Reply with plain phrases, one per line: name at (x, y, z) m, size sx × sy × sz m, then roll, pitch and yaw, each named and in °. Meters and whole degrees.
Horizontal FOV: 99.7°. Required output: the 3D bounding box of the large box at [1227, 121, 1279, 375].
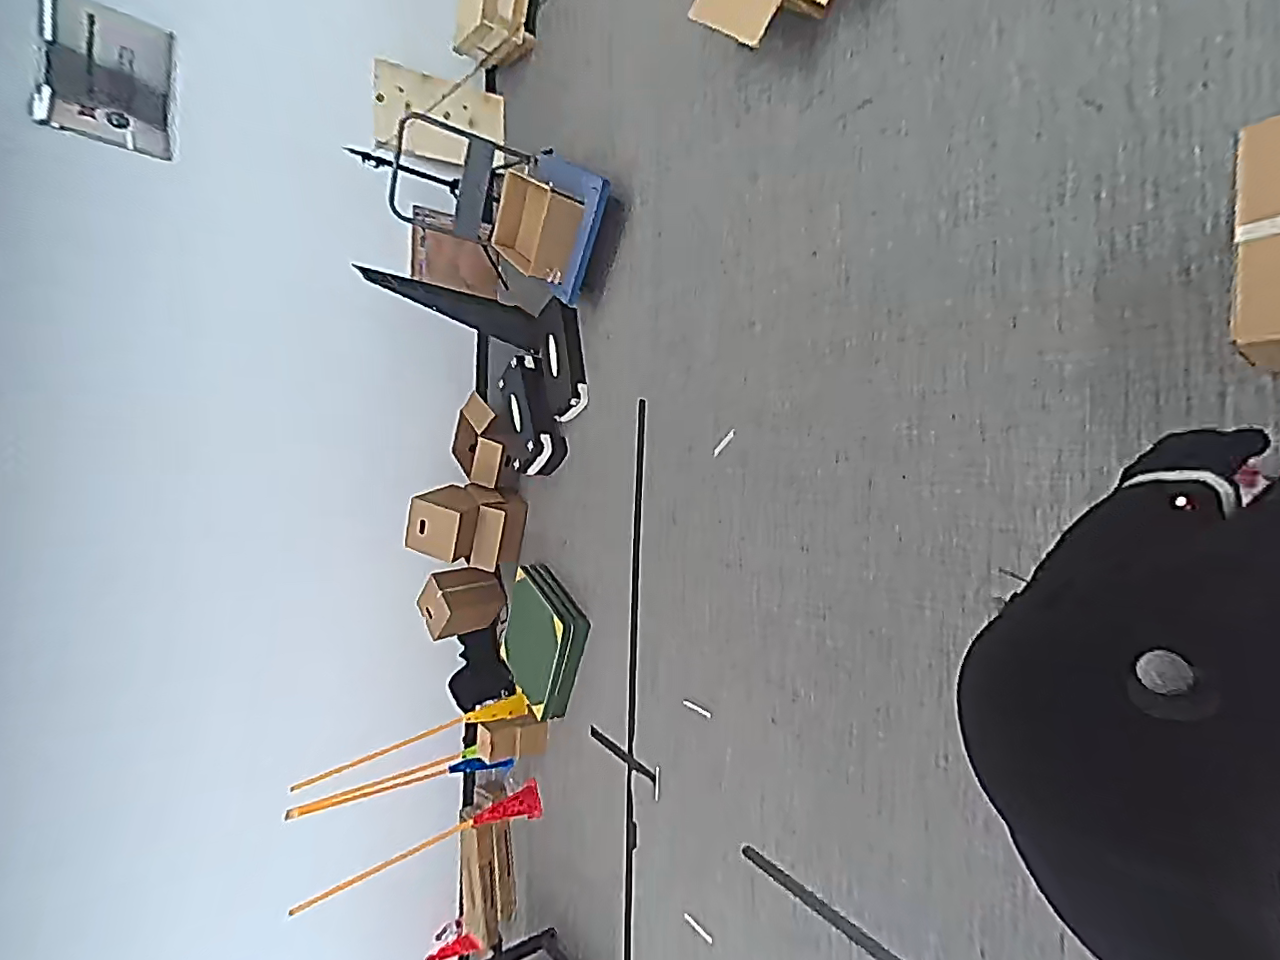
large box at (1.089, -0.340, 0.713) m, size 0.408 × 0.320 × 0.320 m, roll 1°, pitch 90°, yaw 54°
